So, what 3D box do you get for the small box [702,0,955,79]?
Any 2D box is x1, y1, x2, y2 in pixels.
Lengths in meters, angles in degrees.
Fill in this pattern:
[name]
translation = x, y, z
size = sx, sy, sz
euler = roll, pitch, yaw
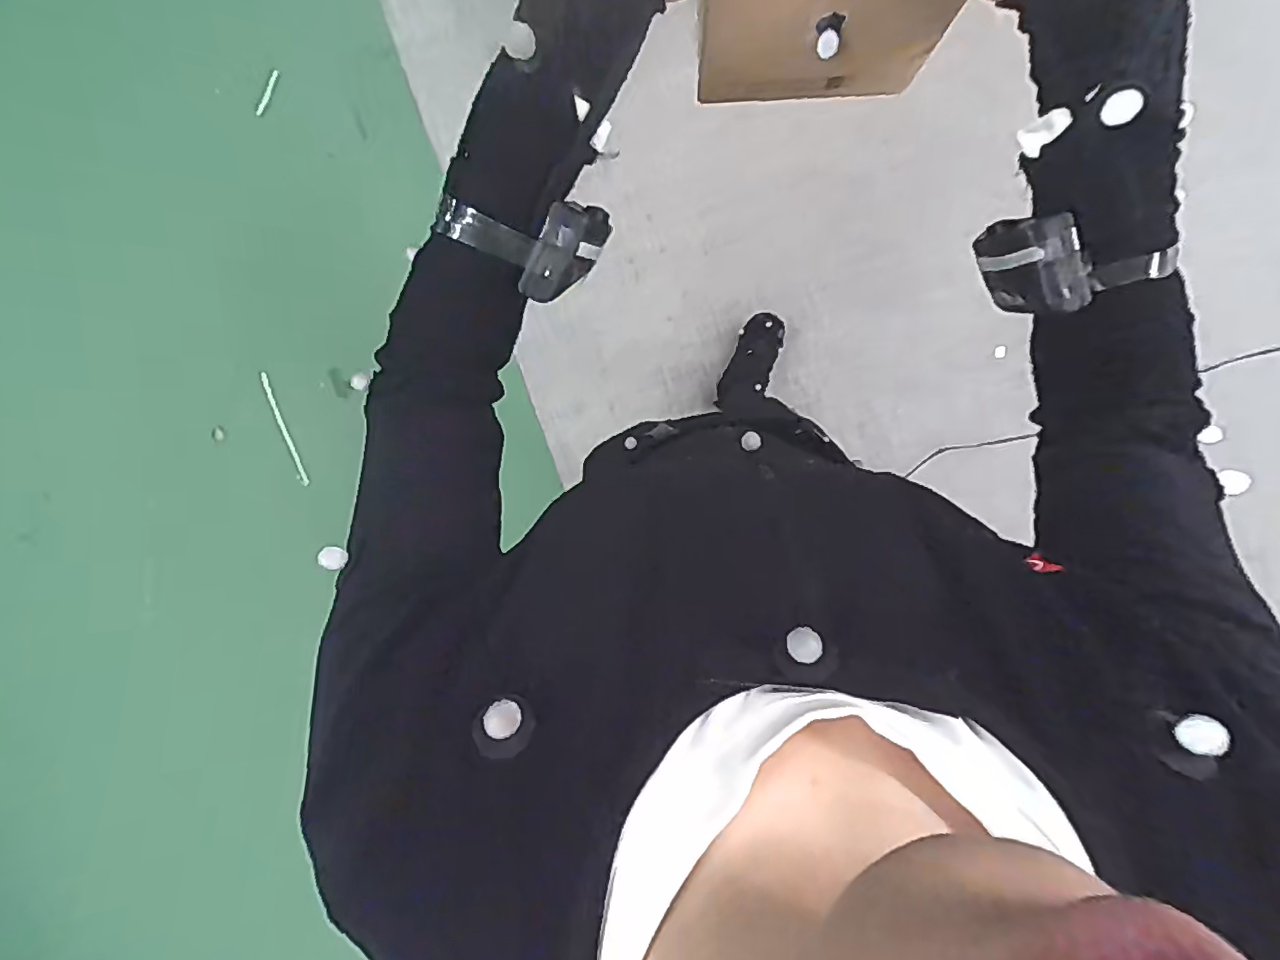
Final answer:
[small box]
translation = 0.128, -0.391, 0.344
size = 0.168, 0.176, 0.179
euler = -1, 96, 3
